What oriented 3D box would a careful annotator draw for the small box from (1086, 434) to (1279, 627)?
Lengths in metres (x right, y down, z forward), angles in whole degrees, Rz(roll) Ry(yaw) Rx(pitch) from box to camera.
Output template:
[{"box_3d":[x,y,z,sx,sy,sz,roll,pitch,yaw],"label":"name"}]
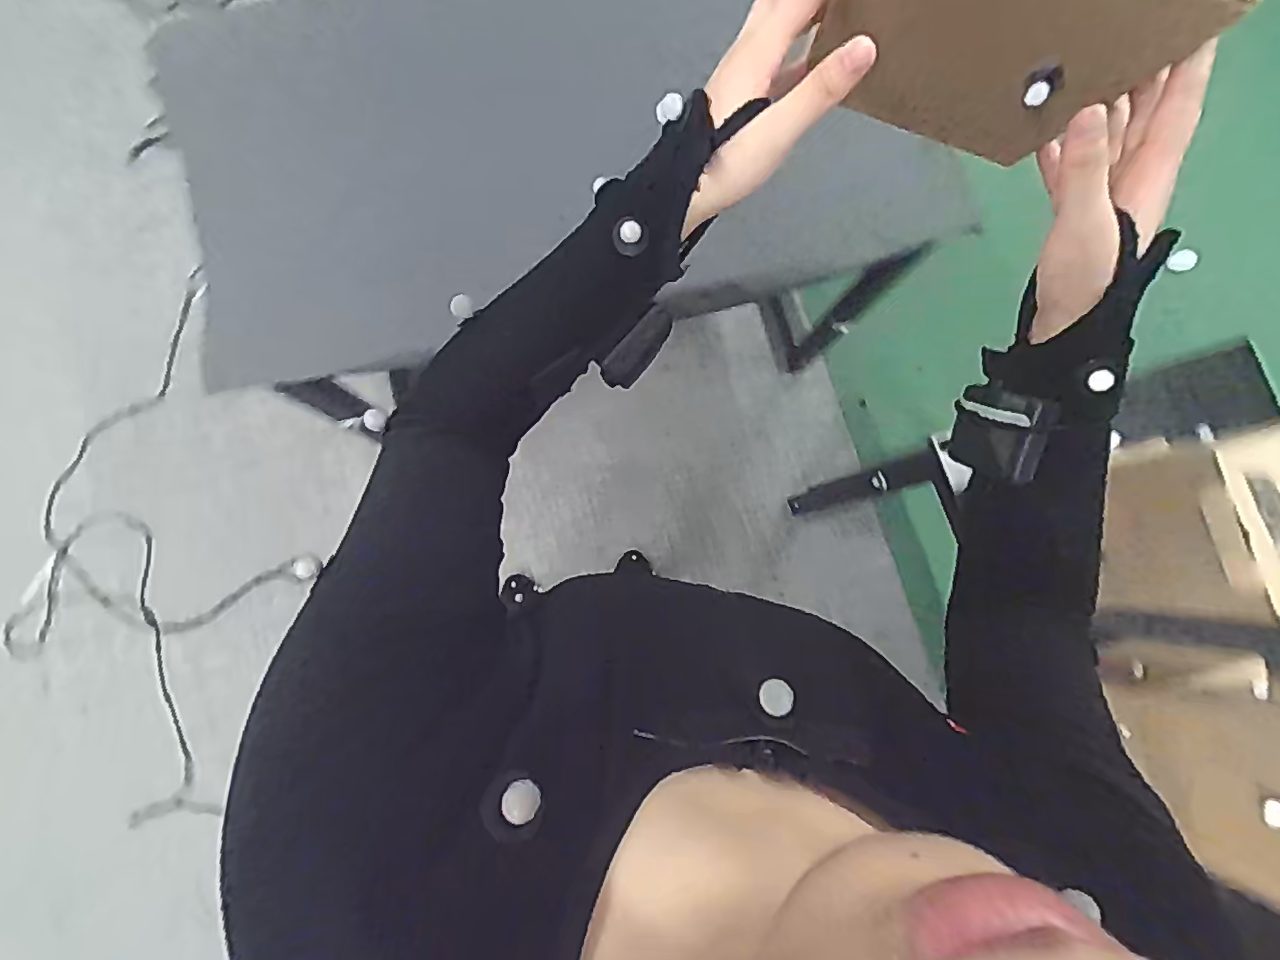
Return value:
[{"box_3d":[0.630,0.049,0.577,0.179,0.176,0.168,-13,84,-6],"label":"small box"}]
